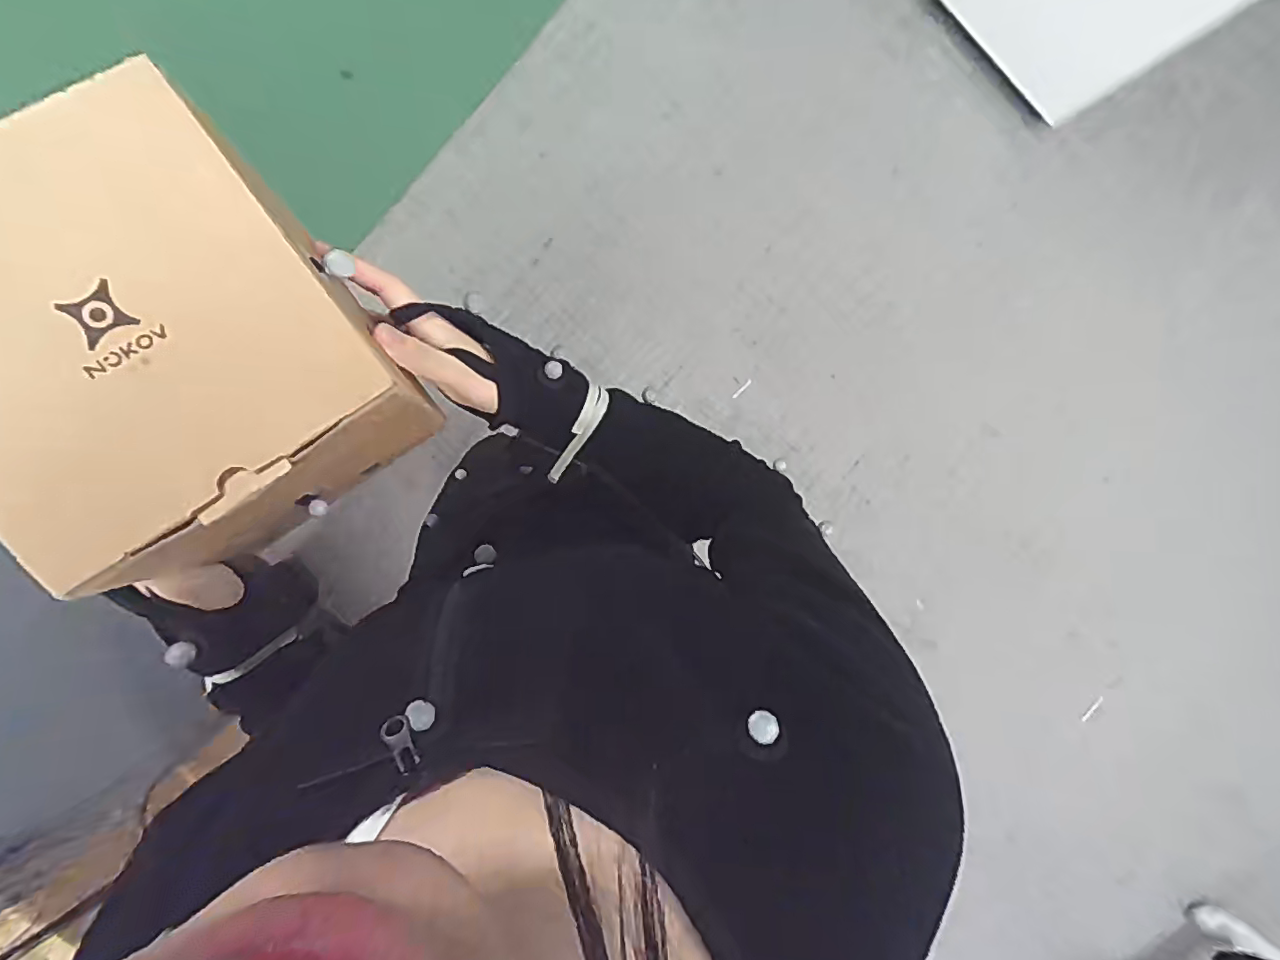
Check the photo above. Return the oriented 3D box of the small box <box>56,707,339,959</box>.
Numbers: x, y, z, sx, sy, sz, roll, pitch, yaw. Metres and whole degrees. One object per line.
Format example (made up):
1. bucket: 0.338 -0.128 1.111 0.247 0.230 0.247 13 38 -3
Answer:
1. small box: -0.525 0.431 0.675 0.179 0.176 0.168 -43 98 1

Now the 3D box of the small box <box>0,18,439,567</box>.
1. small box: -0.237 -0.076 0.296 0.168 0.176 0.179 -36 96 -11
